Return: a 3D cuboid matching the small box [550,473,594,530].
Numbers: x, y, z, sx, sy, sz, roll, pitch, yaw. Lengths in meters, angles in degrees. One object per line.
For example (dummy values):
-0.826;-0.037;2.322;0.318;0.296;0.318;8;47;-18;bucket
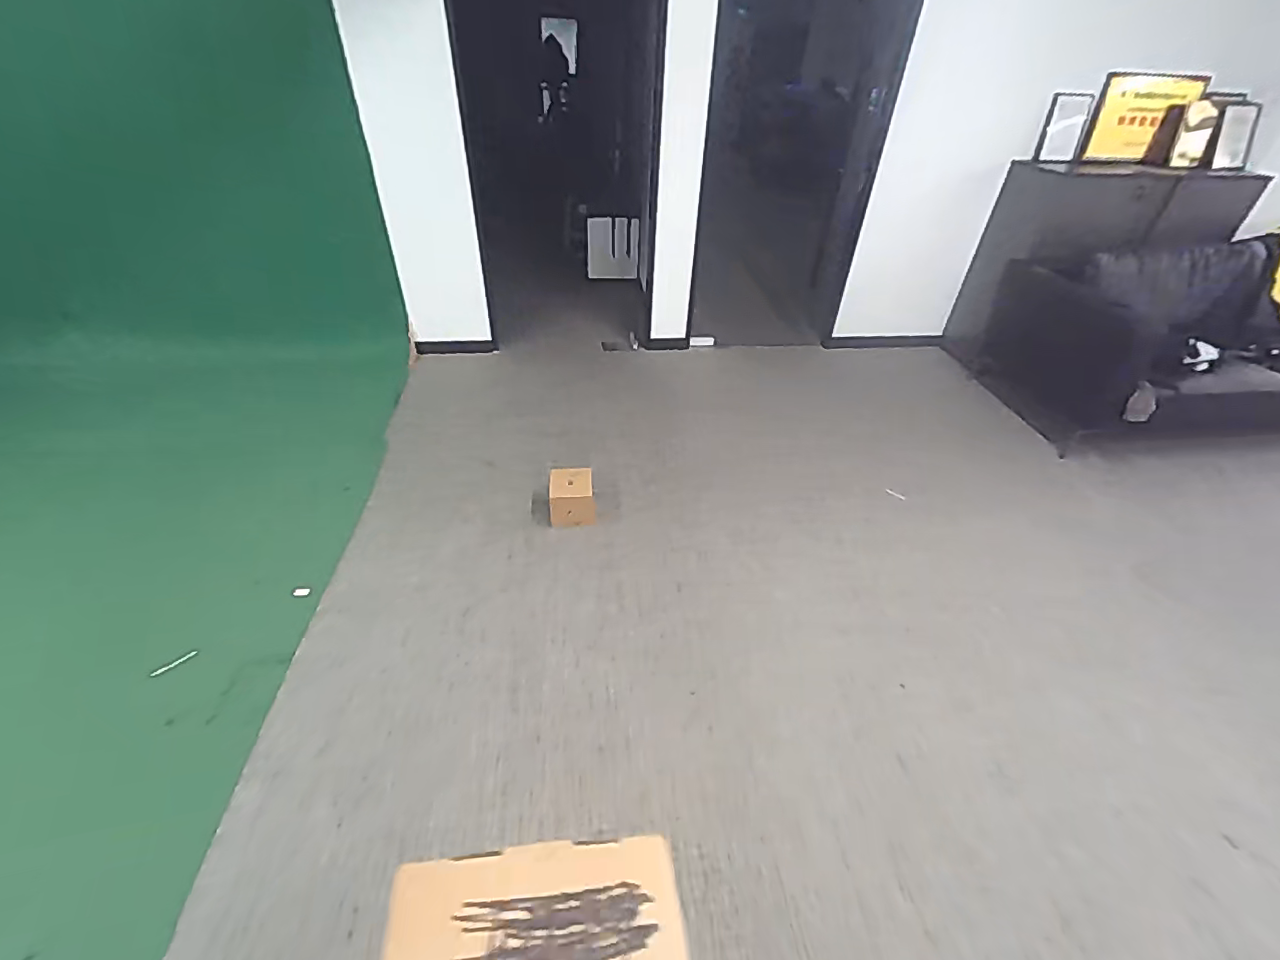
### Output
-0.271;0.090;2.175;0.168;0.176;0.179;-1;39;-5;small box
